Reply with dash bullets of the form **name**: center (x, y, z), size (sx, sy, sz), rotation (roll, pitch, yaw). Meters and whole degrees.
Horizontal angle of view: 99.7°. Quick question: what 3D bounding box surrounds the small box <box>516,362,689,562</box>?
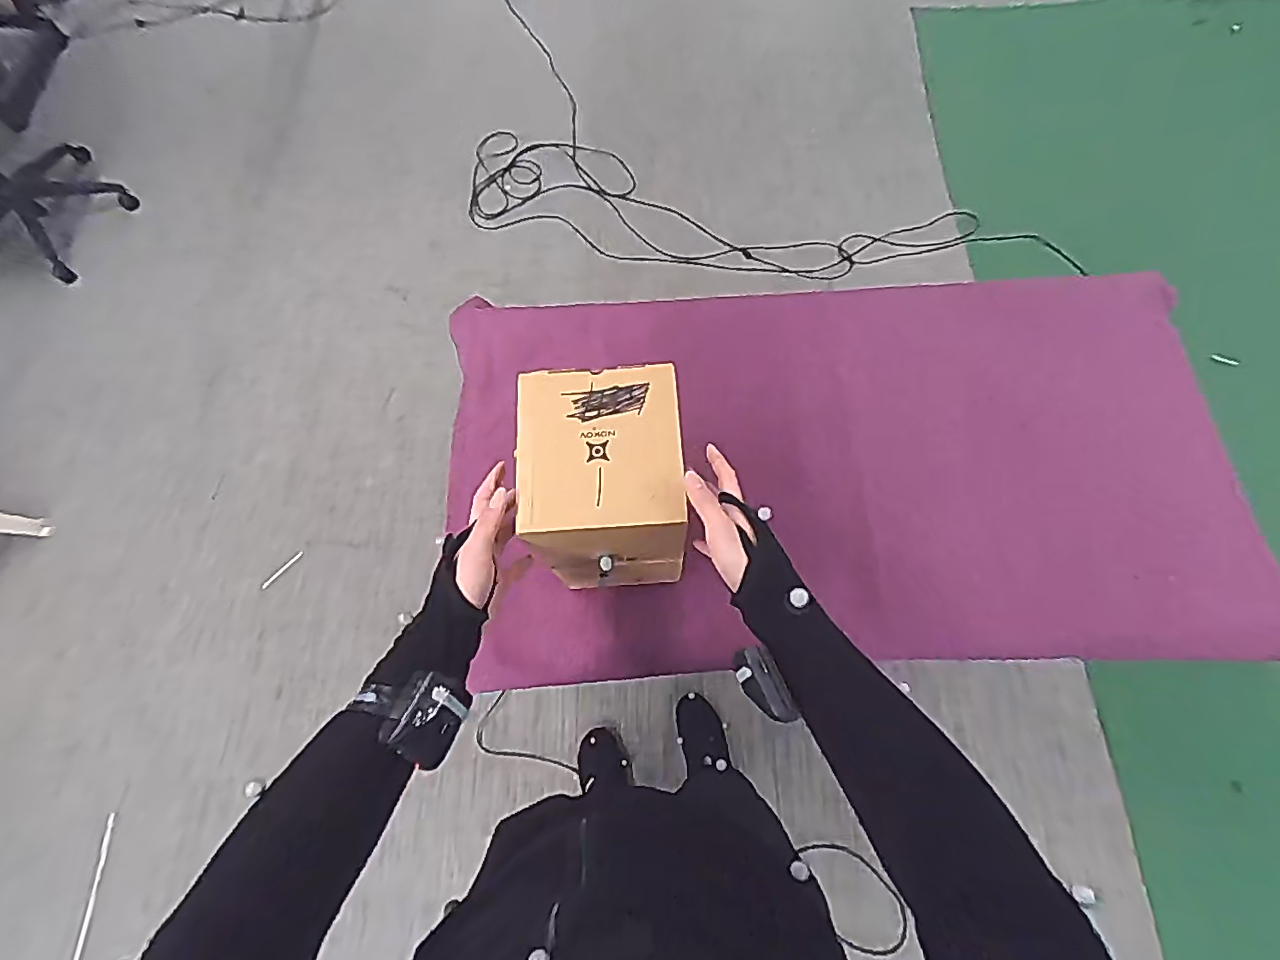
- **small box**: center (-0.036, -0.011, 0.610), size (0.168, 0.176, 0.179), rotation (-3, 71, 2)

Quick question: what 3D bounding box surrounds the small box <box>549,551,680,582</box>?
- **small box**: center (-0.030, 0.046, 0.763), size (0.168, 0.176, 0.179), rotation (-4, 70, 1)
